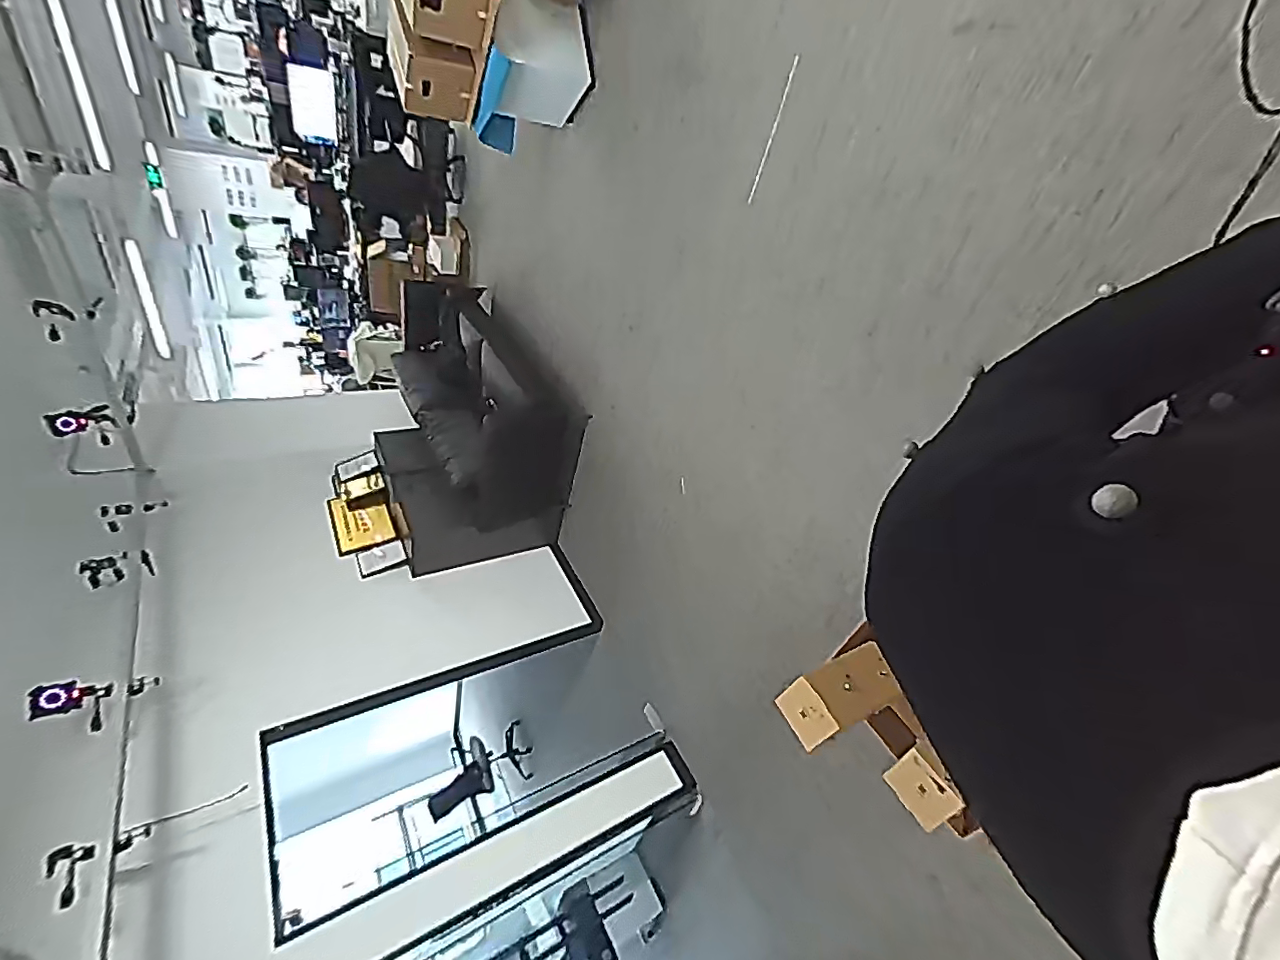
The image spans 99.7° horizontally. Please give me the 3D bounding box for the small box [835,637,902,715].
[{"bbox_3d":[0.681,0.624,1.702,0.168,0.176,0.179,56,140,32],"label":"small box"}]

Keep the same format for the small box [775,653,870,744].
[{"bbox_3d":[0.545,0.648,1.611,0.168,0.176,0.179,55,139,32],"label":"small box"}]

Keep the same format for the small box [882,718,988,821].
[{"bbox_3d":[0.832,0.811,1.522,0.168,0.176,0.179,49,138,37],"label":"small box"}]
